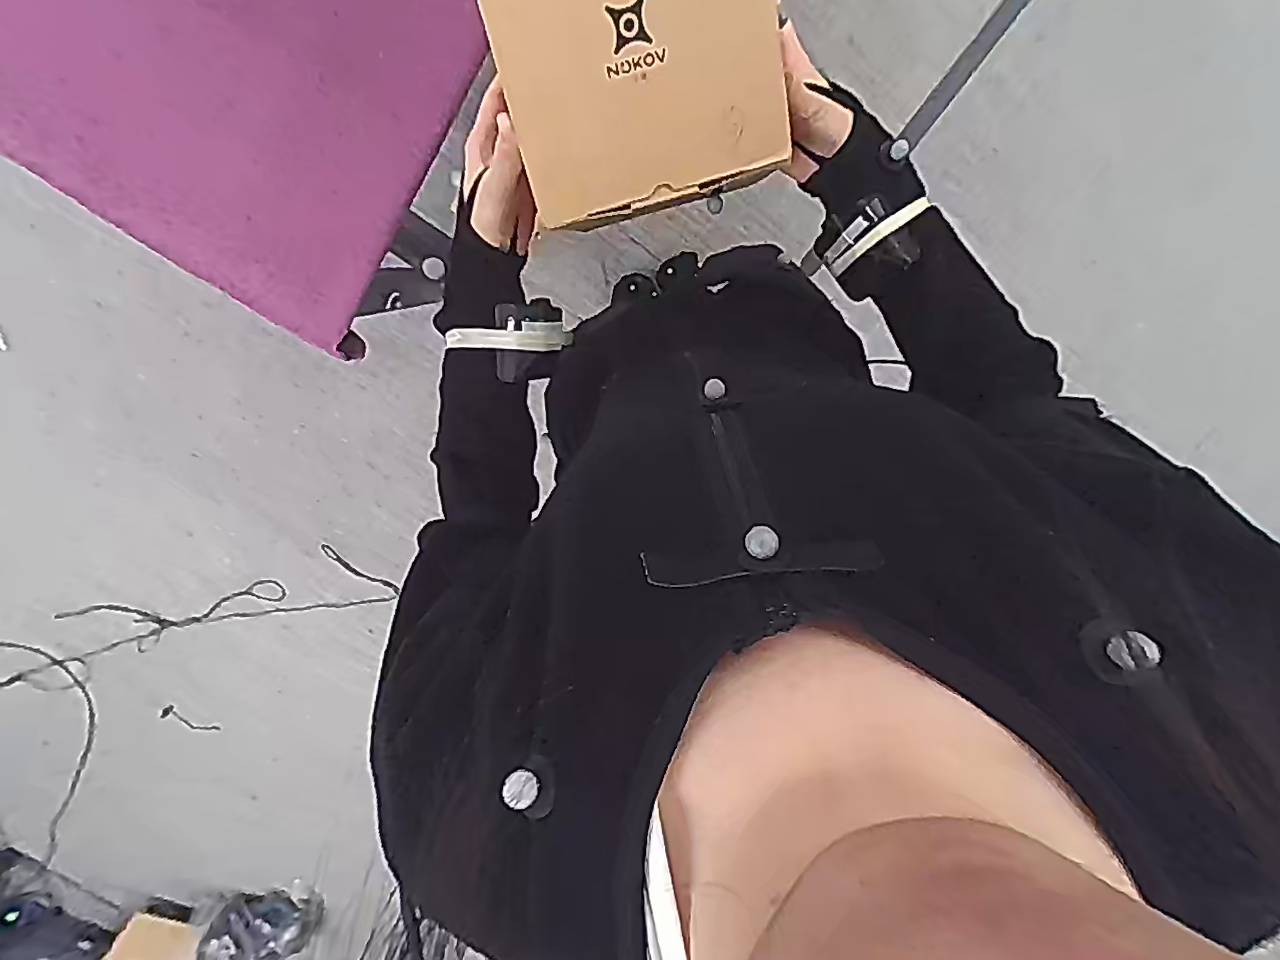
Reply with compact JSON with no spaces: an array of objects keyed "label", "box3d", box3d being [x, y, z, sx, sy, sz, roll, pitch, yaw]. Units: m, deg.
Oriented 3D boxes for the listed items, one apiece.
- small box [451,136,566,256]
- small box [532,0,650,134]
[{"label":"small box","box3d":[-0.286,-0.620,1.213,0.179,0.176,0.168,34,107,-12]},{"label":"small box","box3d":[-0.097,-0.857,1.121,0.179,0.176,0.168,32,108,-13]}]
